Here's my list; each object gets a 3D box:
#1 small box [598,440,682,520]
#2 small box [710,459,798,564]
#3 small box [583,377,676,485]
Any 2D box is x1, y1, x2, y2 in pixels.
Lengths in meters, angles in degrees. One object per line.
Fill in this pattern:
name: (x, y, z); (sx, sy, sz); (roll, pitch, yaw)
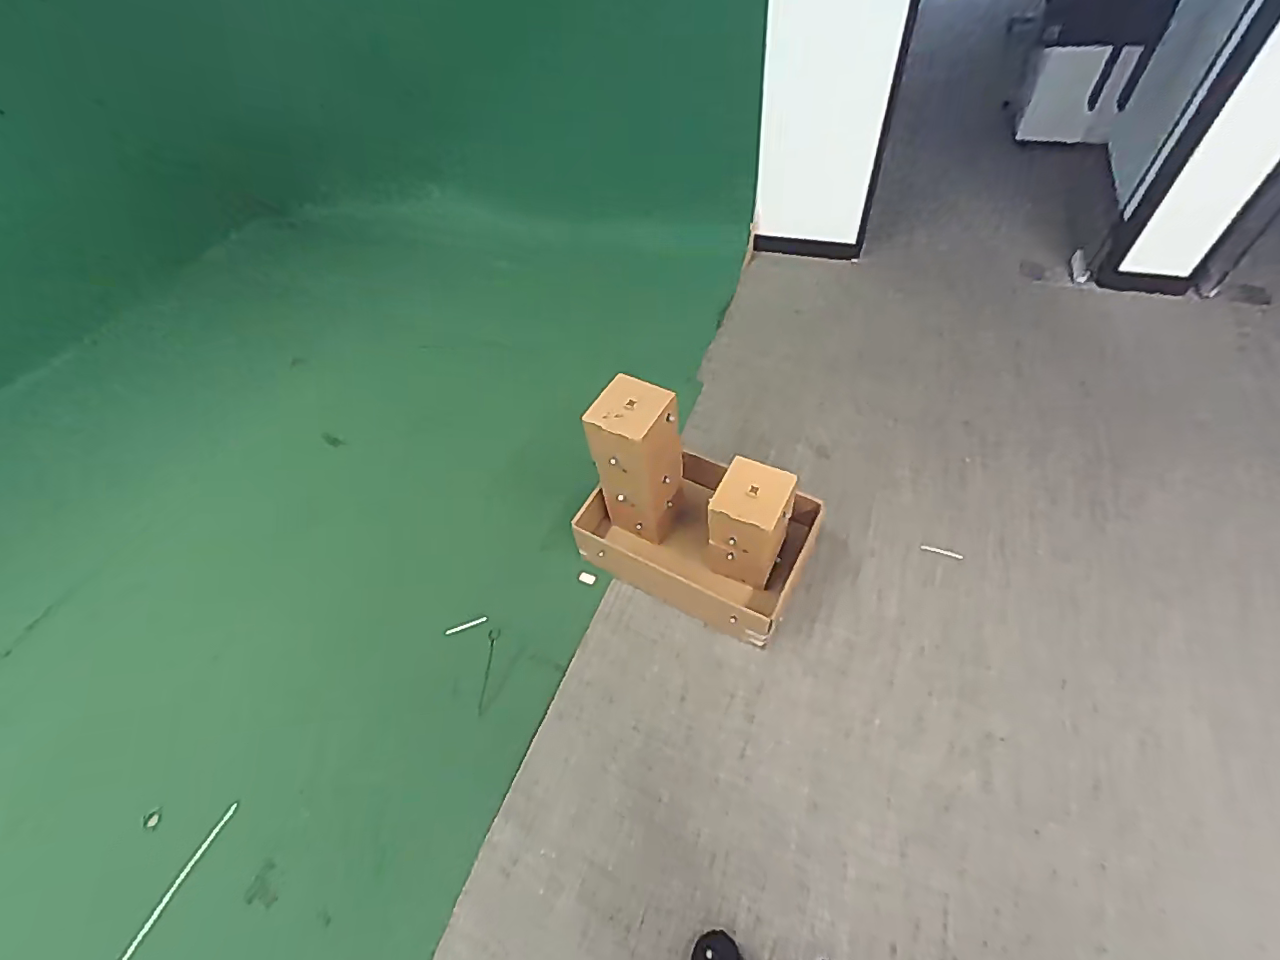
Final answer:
small box: (0.002, -0.025, 1.491); (0.168, 0.176, 0.179); (26, 62, 23)
small box: (0.285, 0.082, 1.370); (0.168, 0.176, 0.179); (20, 60, 22)
small box: (-0.019, -0.121, 1.359); (0.168, 0.176, 0.179); (23, 61, 22)
